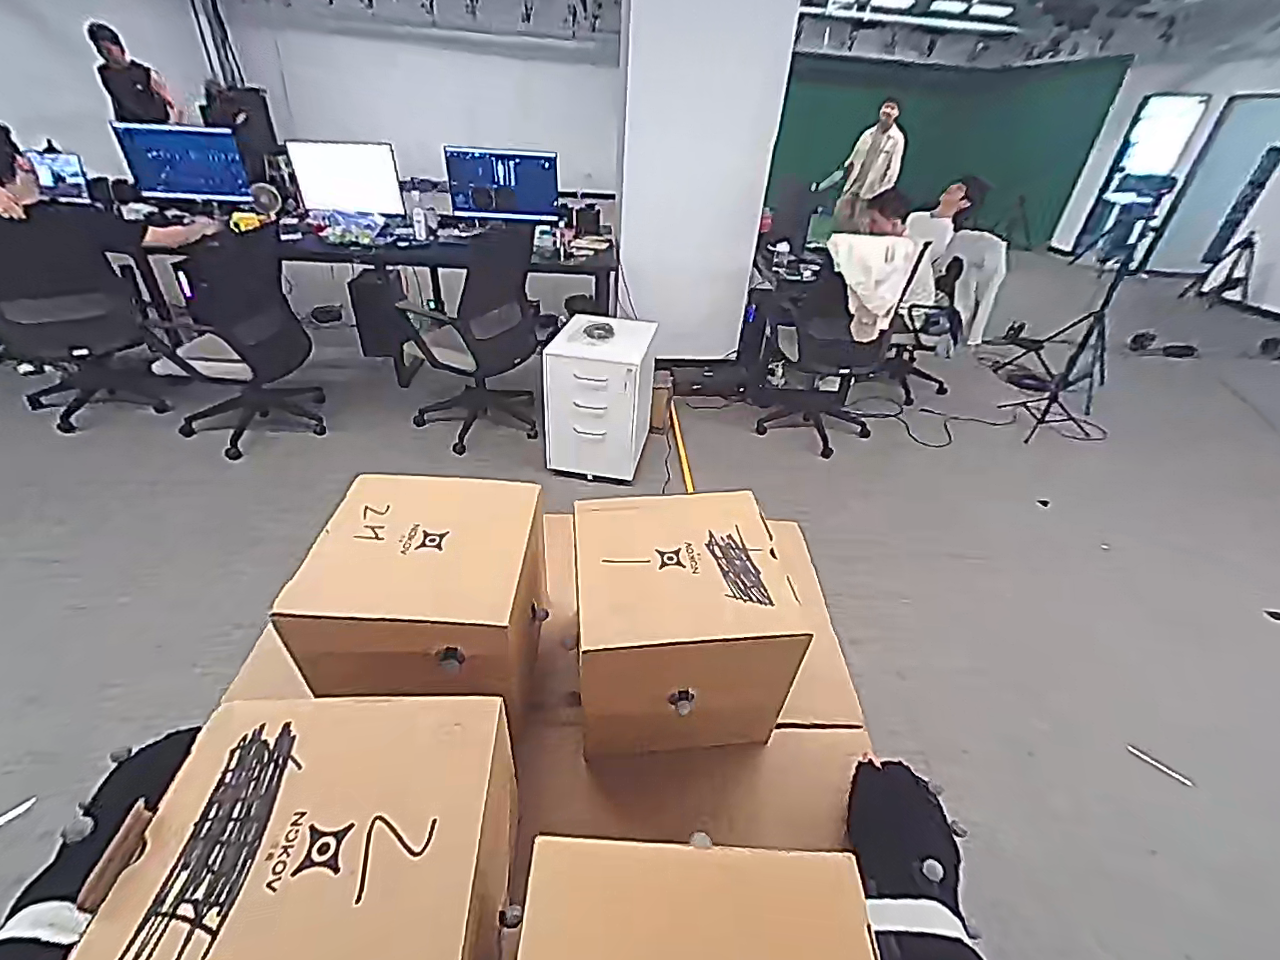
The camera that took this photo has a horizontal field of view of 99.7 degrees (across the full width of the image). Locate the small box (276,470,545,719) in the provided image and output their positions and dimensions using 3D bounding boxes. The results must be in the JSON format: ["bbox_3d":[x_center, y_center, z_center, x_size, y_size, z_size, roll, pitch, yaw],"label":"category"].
[{"bbox_3d":[-0.191,0.110,0.520,0.179,0.176,0.168,3,39,-1],"label":"small box"}]
